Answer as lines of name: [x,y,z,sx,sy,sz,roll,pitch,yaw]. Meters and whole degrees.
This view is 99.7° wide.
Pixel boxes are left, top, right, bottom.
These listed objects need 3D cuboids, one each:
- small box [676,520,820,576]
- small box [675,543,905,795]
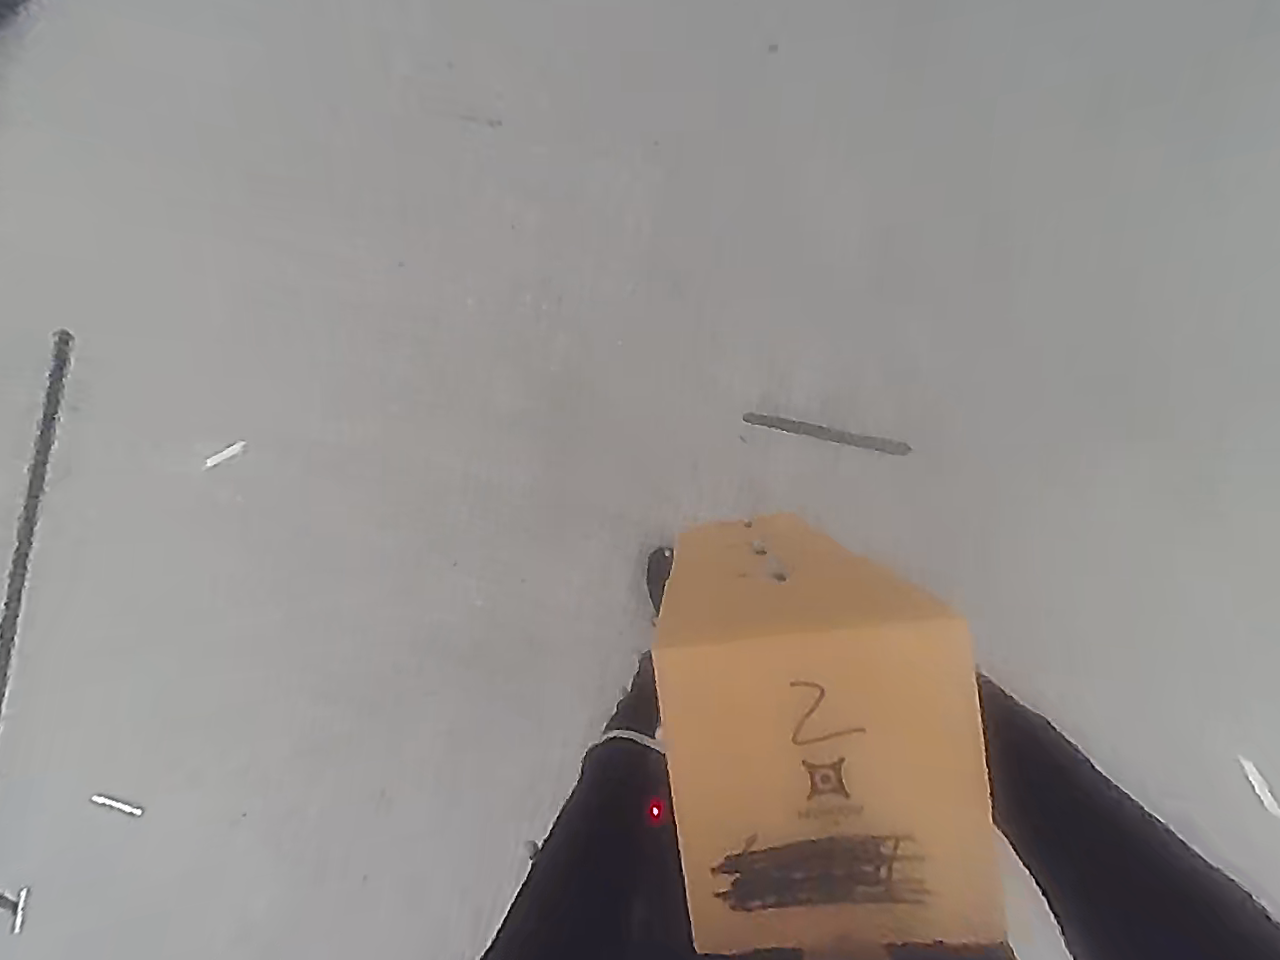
small box: [0.143,0.158,0.689,0.168,0.176,0.179,-10,92,6]
small box: [0.129,0.163,0.524,0.168,0.176,0.179,-11,92,6]
